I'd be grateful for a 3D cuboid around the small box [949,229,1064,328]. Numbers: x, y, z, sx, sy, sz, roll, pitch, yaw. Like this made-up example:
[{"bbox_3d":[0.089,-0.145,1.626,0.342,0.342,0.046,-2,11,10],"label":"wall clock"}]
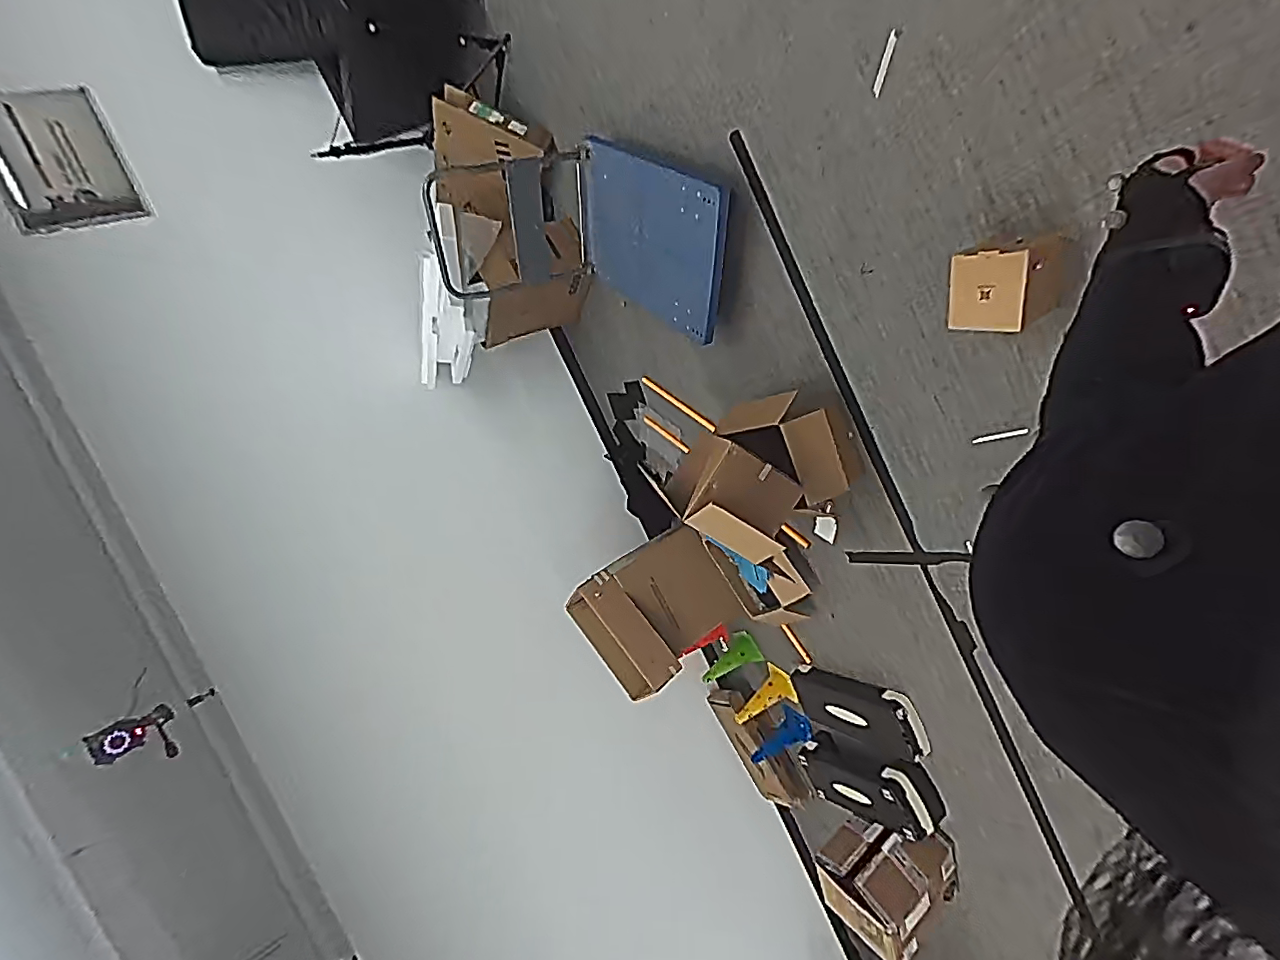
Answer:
[{"bbox_3d":[0.854,-0.470,1.264,0.168,0.176,0.179,26,136,53],"label":"small box"}]
